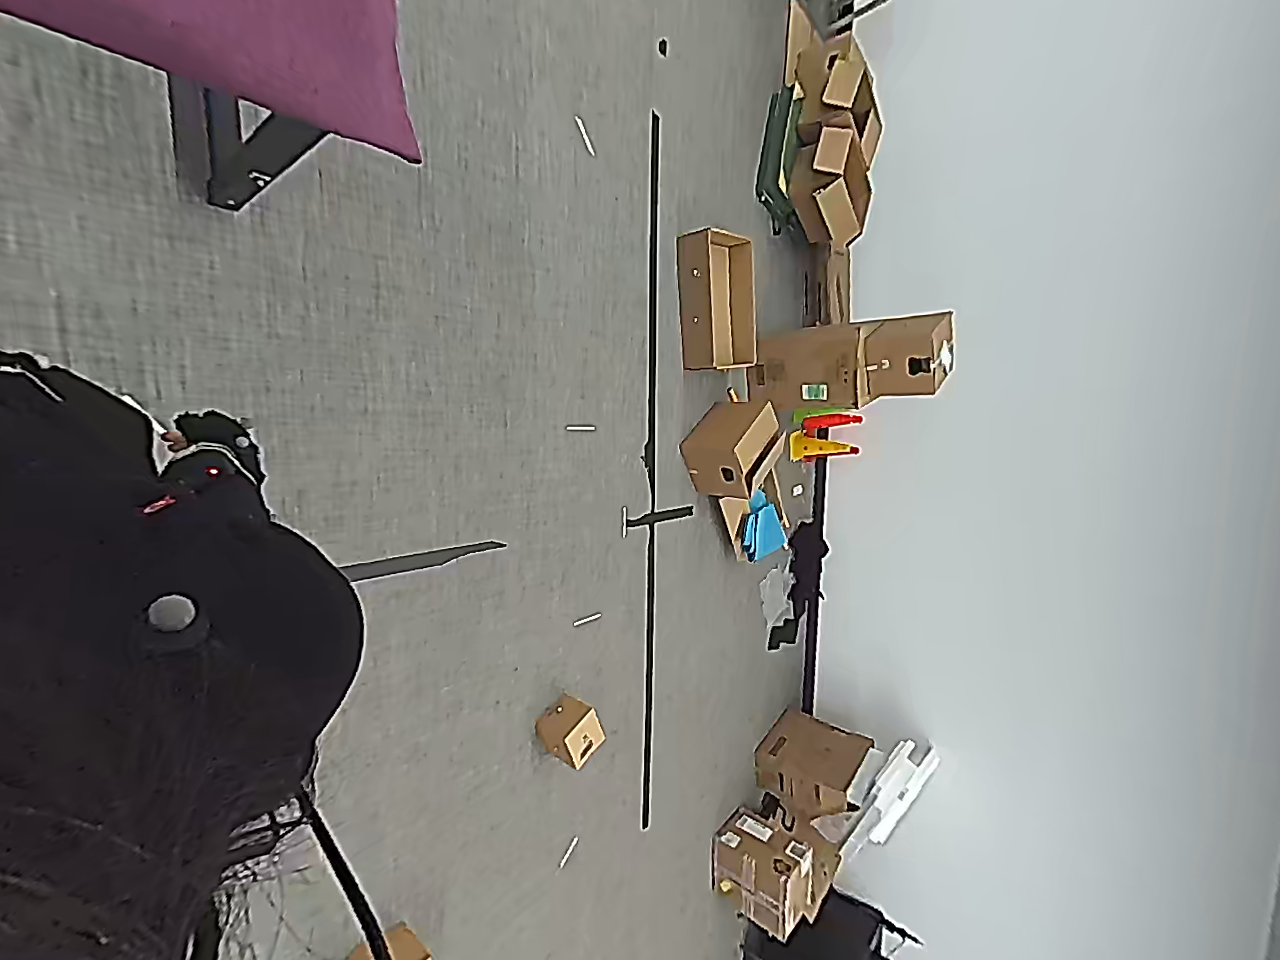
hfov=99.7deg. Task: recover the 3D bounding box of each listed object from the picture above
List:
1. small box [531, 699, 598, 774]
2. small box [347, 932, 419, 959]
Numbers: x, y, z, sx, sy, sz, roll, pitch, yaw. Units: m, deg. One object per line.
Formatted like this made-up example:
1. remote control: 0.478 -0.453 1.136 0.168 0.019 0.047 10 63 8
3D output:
1. small box: -0.297 0.996 2.114 0.168 0.176 0.179 -37 121 -42
2. small box: -0.783 1.509 1.601 0.179 0.176 0.168 13 86 -52
